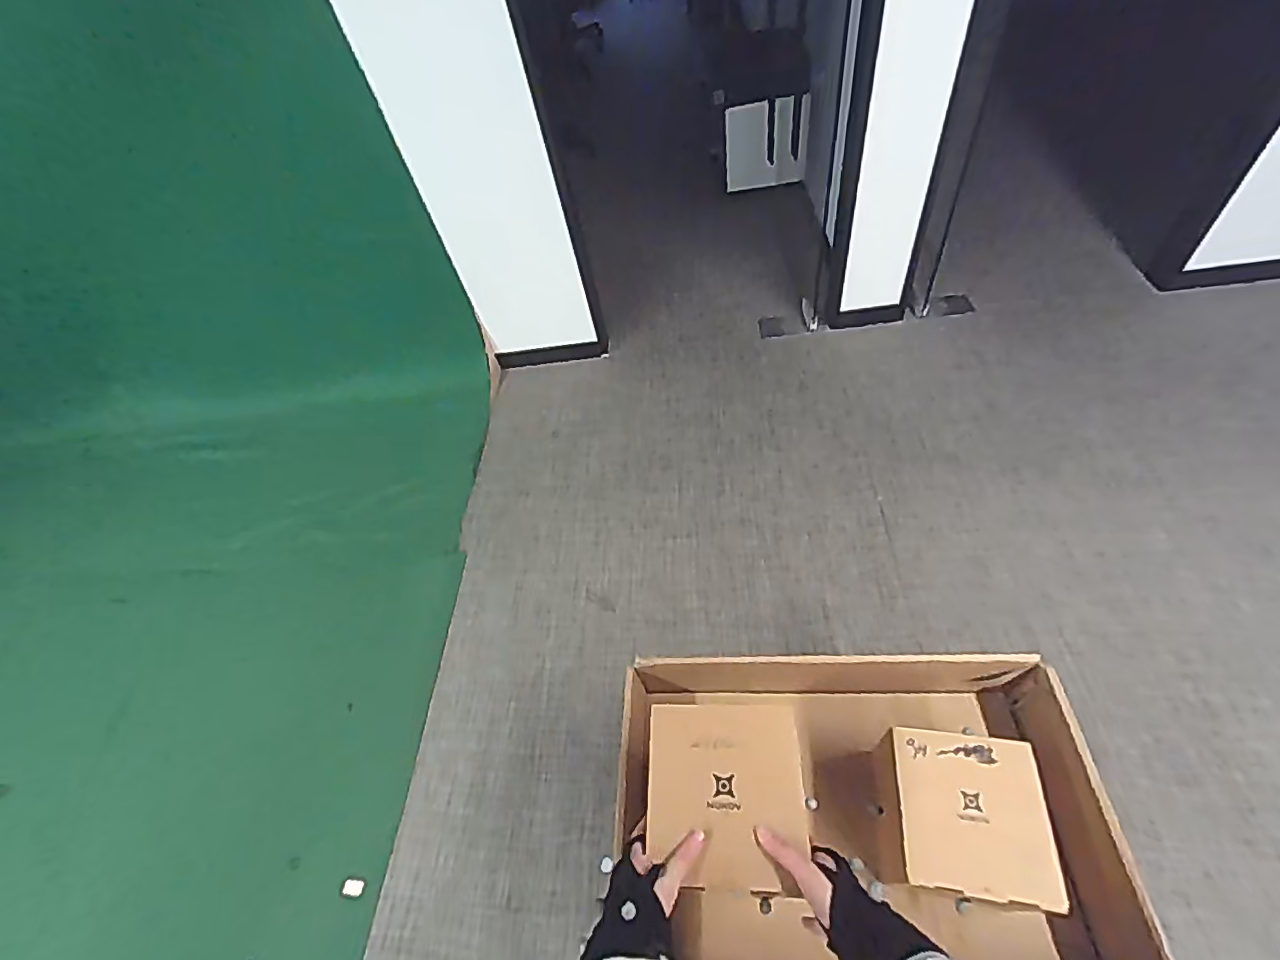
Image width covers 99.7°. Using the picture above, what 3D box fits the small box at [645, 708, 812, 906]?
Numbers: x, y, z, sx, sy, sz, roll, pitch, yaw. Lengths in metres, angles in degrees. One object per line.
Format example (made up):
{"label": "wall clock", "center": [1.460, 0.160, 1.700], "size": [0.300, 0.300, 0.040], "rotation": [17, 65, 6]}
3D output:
{"label": "small box", "center": [0.106, 0.381, 0.634], "size": [0.168, 0.176, 0.179], "rotation": [-4, 52, 10]}
